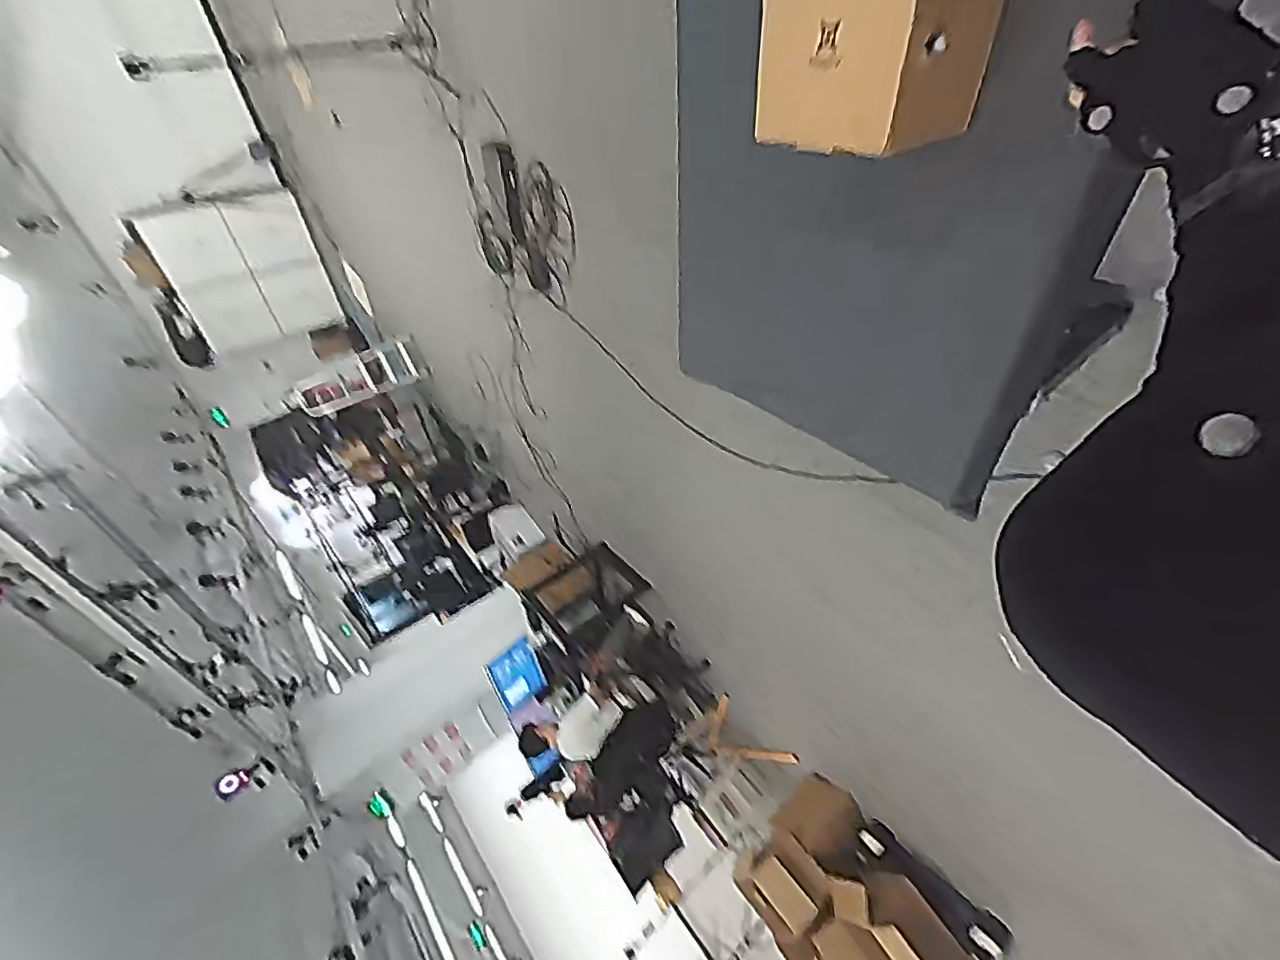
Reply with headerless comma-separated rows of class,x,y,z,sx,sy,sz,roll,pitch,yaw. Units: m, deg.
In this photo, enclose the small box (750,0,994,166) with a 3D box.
small box,0.235,-0.446,0.558,0.168,0.176,0.179,35,144,38
